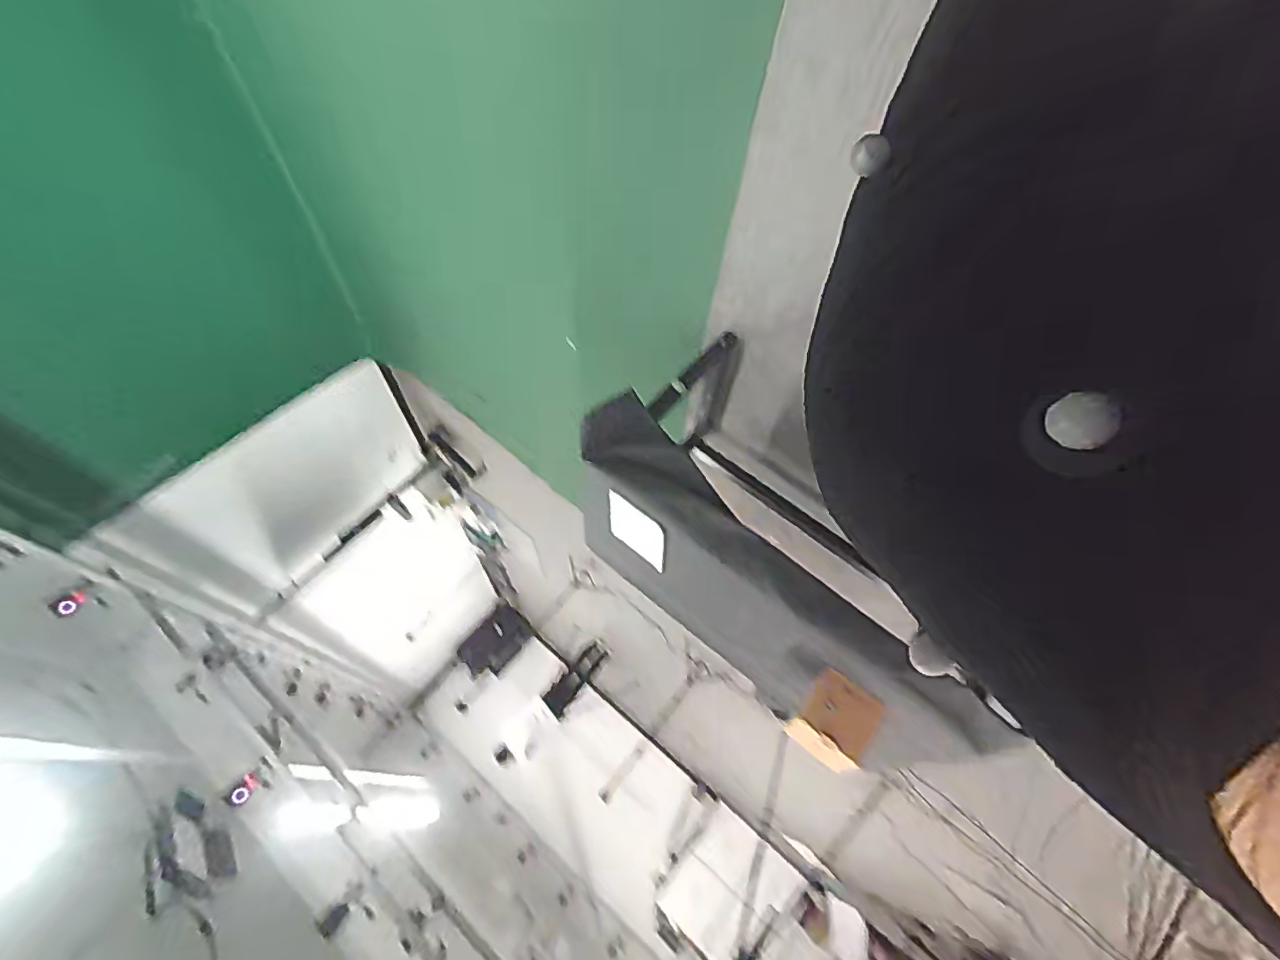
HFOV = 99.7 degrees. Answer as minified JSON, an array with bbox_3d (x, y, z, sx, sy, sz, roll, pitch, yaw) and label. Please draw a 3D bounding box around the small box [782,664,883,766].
[{"bbox_3d":[0.498,0.604,1.398,0.168,0.176,0.179,36,155,21],"label":"small box"}]
